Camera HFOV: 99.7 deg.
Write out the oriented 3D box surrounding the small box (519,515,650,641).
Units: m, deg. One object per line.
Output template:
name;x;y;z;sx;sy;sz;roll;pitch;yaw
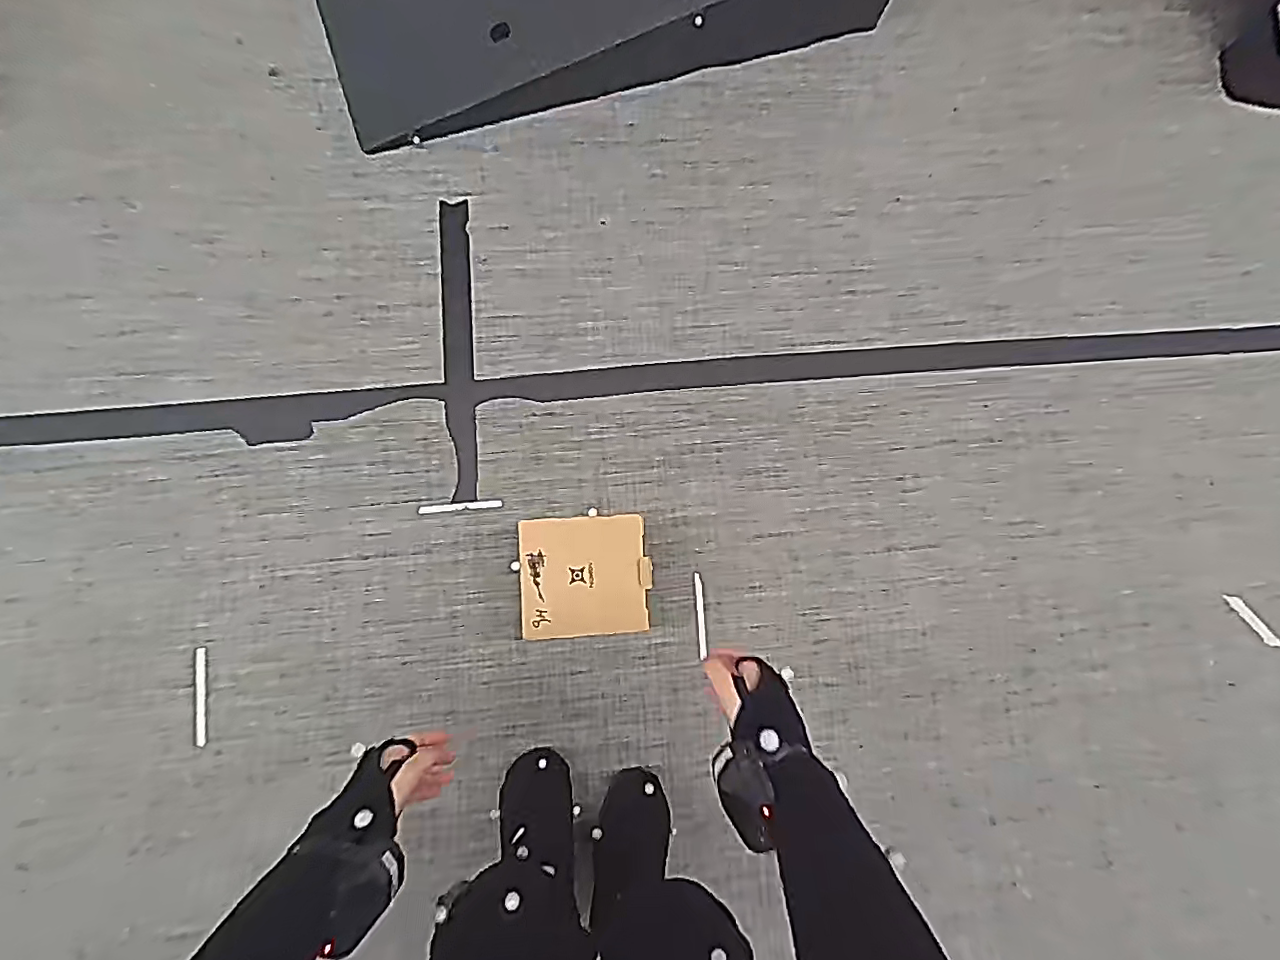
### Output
small box;-0.083;0.138;0.811;0.179;0.176;0.168;-2;85;-5
